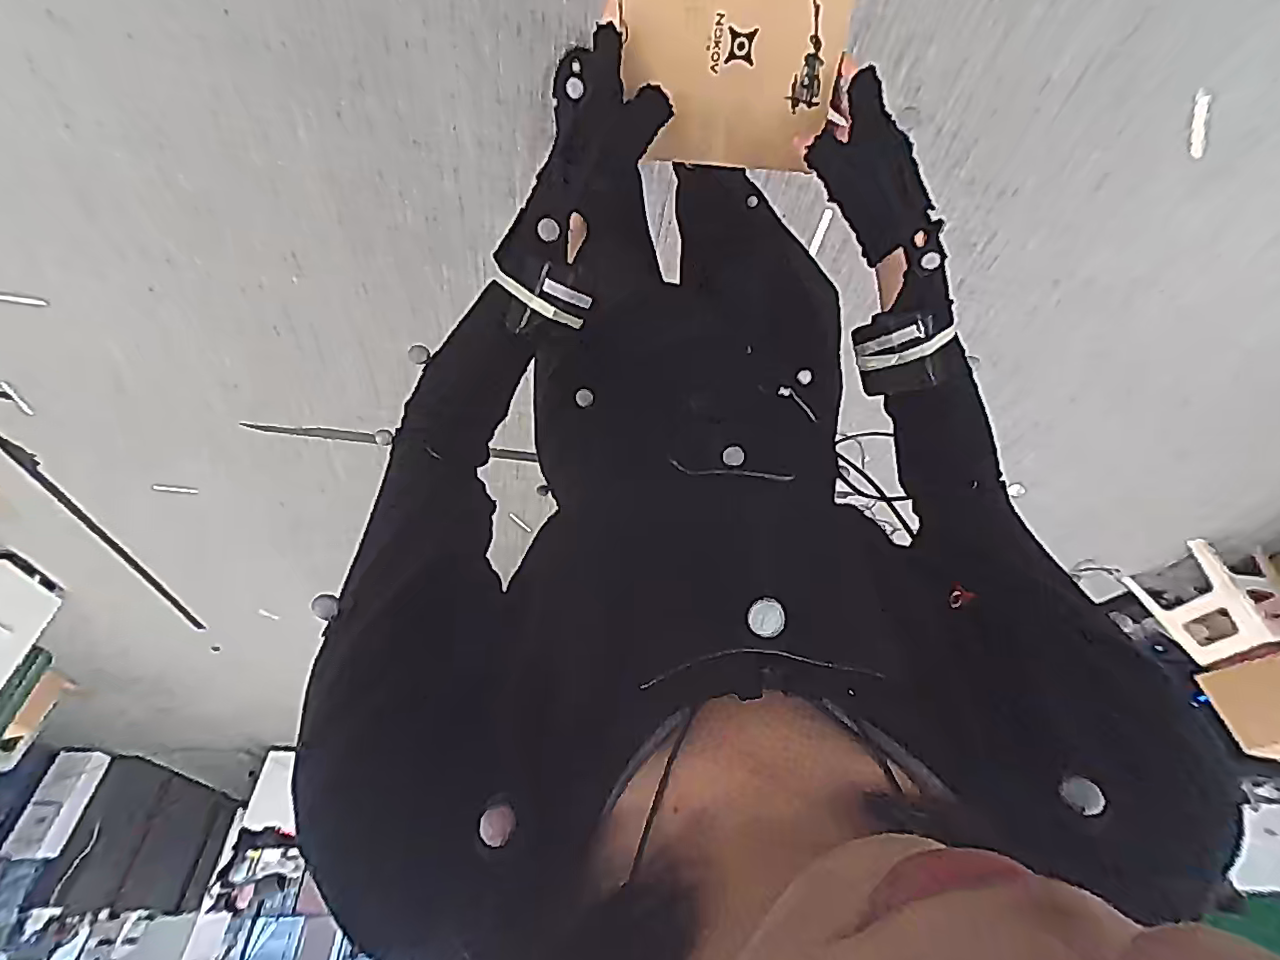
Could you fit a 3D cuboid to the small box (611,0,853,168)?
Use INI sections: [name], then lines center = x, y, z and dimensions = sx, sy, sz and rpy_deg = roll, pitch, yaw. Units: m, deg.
[small box]
center = 0.073, -0.387, 0.476
dimensions = 0.179, 0.176, 0.168
rpy_deg = 5, 128, 0
